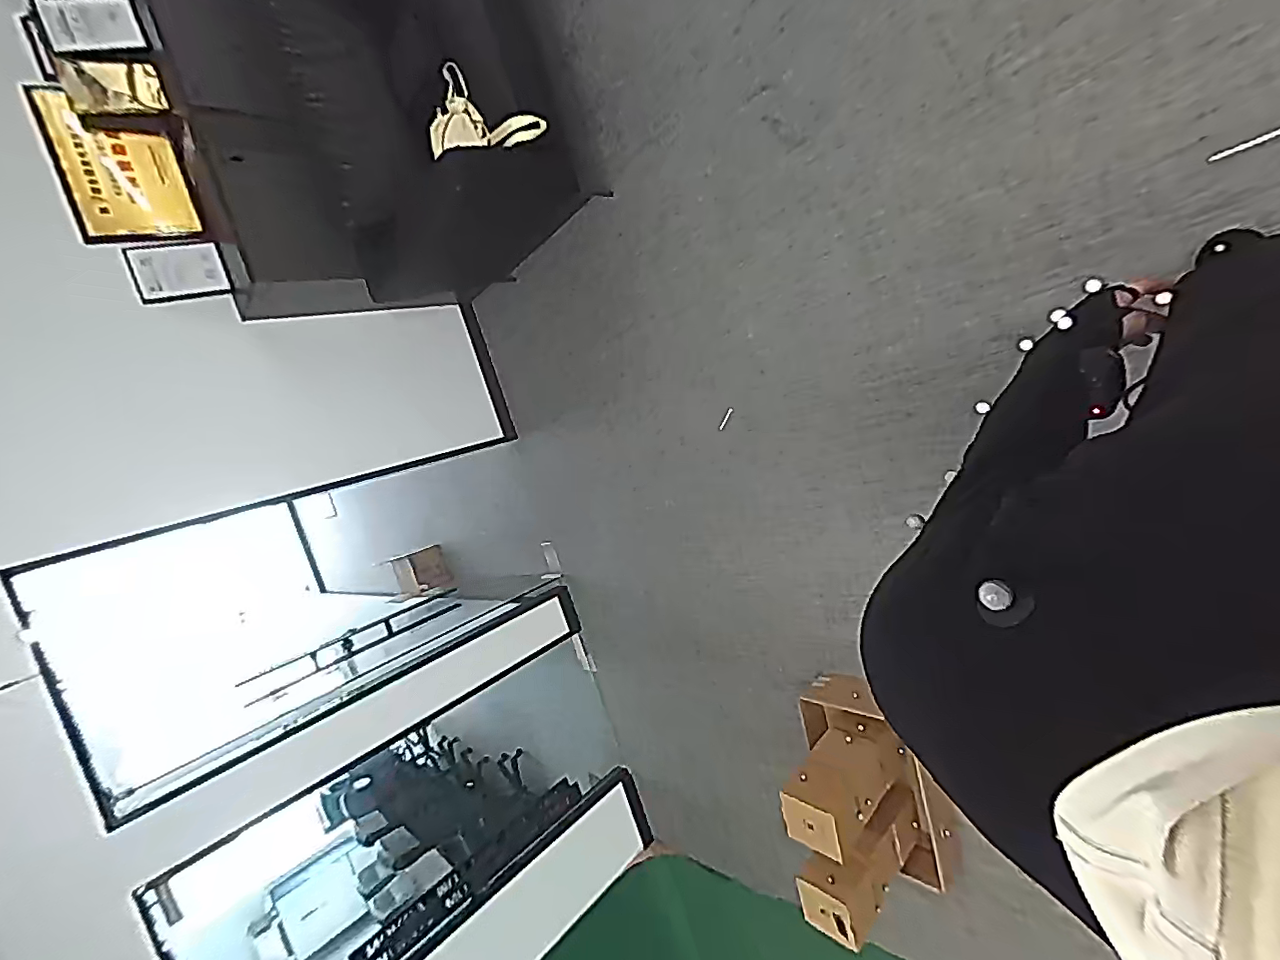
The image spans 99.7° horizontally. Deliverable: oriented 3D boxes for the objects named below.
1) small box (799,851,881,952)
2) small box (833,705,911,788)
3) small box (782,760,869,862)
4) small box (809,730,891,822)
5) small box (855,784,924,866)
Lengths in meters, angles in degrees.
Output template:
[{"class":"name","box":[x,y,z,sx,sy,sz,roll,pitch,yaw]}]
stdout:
[{"class":"small box","box":[0.621,1.269,1.663,0.179,0.176,0.168,-5,102,50]},{"class":"small box","box":[0.787,0.892,1.829,0.179,0.176,0.168,-5,103,48]},{"class":"small box","box":[0.555,0.975,1.614,0.179,0.176,0.168,-2,105,47]},{"class":"small box","box":[0.670,0.929,1.720,0.179,0.176,0.168,-2,105,48]},{"class":"small box","box":[0.854,1.171,1.874,0.179,0.176,0.168,-5,102,49]}]
